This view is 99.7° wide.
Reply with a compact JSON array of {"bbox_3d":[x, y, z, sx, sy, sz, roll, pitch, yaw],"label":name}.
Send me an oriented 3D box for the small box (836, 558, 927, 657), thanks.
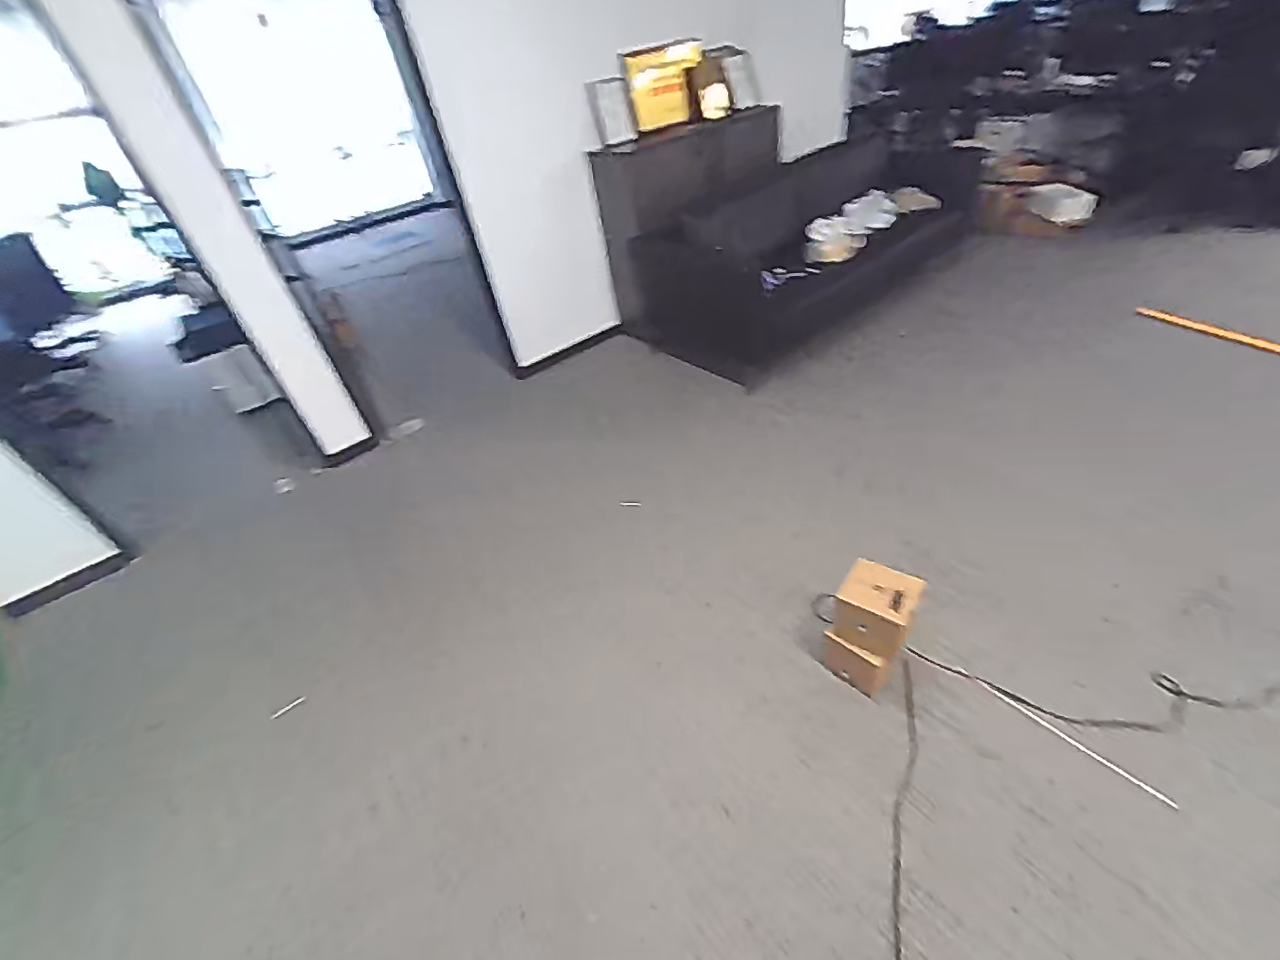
[{"bbox_3d":[0.648,0.349,1.463,0.179,0.176,0.168,19,48,36],"label":"small box"}]
